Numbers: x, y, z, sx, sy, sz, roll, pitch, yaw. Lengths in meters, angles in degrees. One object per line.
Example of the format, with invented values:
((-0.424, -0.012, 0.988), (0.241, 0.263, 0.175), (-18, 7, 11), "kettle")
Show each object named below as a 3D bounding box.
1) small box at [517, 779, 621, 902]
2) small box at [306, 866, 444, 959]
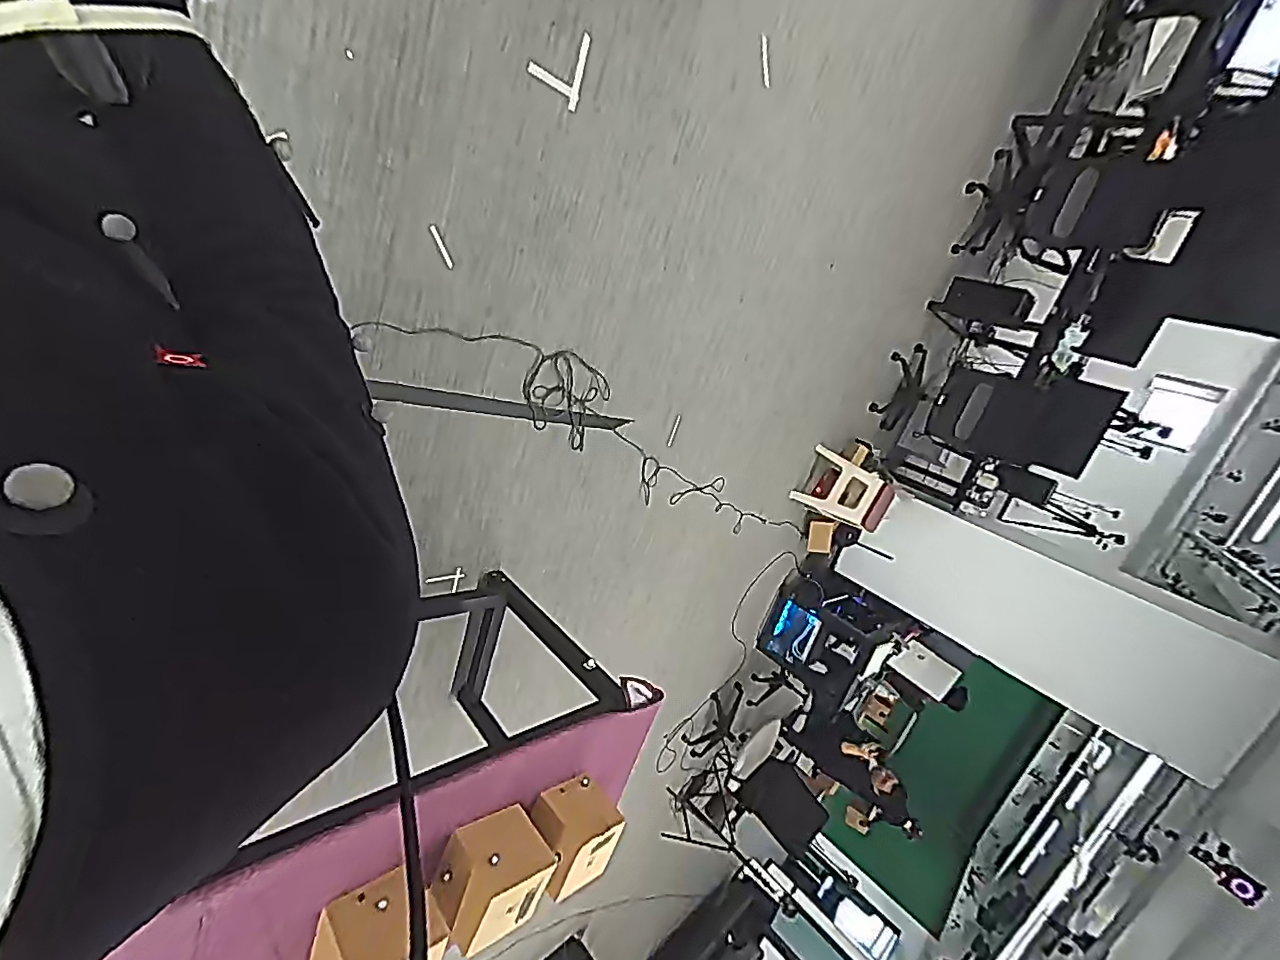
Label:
((-0.183, 0.888, 1.359), (0.168, 0.176, 0.179), (9, 107, -51), "small box")
((-0.494, 0.874, 0.996), (0.168, 0.176, 0.179), (2, 113, -49), "small box")
